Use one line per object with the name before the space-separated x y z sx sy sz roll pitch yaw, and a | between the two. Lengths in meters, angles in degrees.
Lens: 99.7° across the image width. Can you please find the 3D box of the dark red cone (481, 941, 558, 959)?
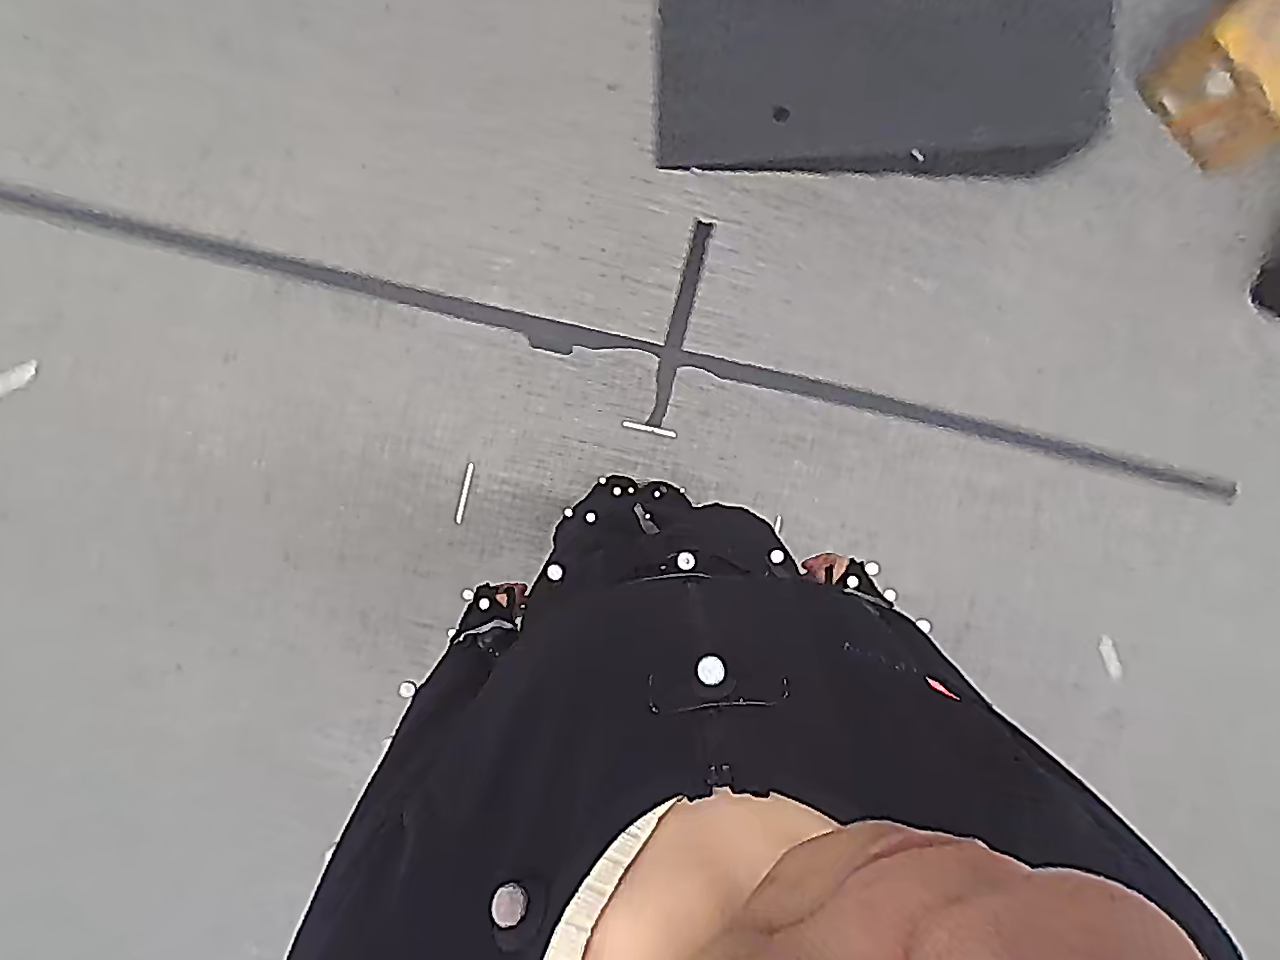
dark red cone | -0.318 1.325 1.254 0.201 0.394 0.202 13 94 -3
